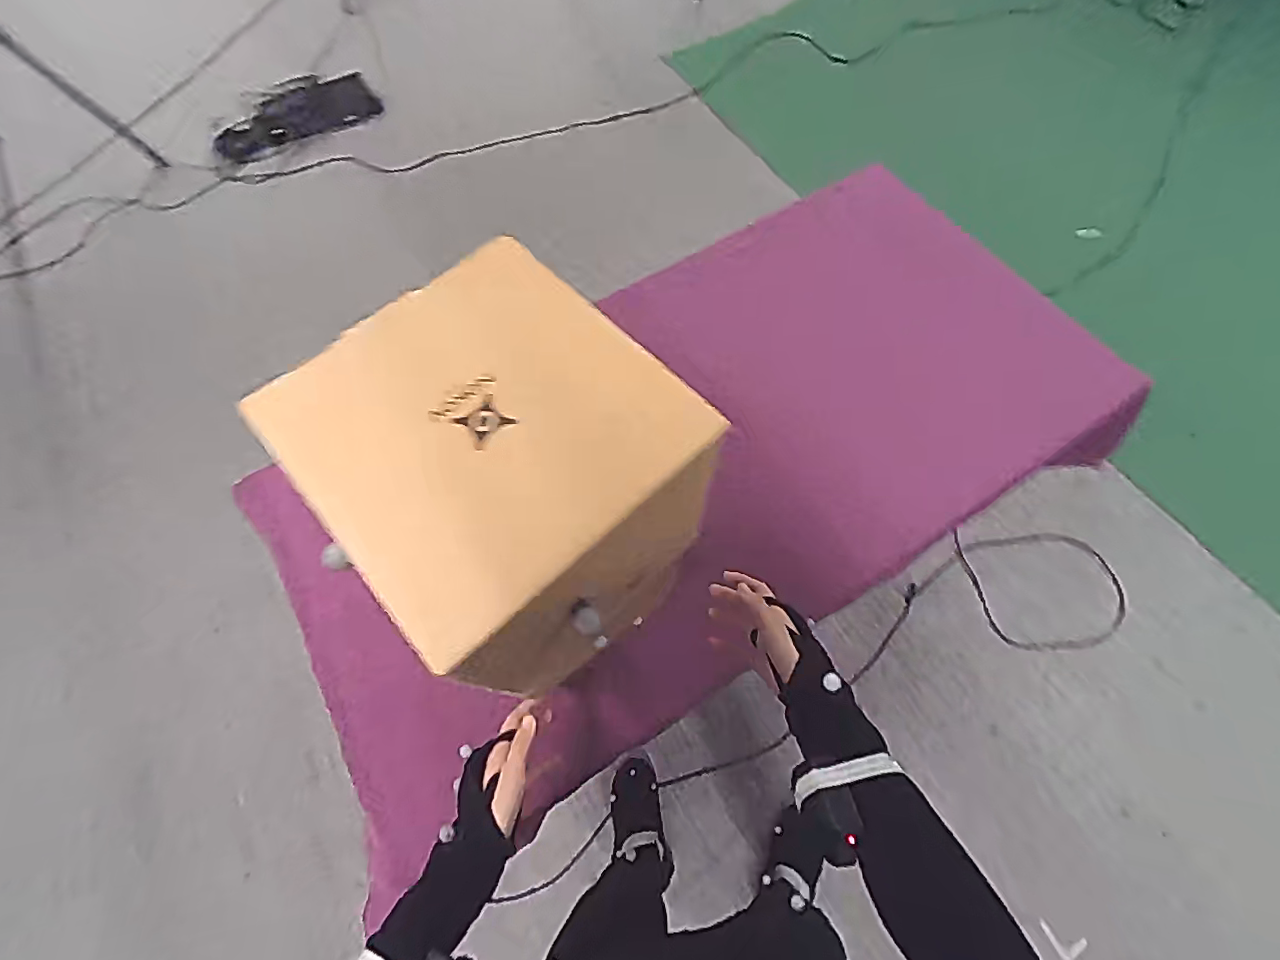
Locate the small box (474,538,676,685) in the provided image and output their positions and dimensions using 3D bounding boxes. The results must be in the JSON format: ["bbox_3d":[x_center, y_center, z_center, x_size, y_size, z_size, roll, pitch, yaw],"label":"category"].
[{"bbox_3d":[-0.087,0.059,0.481,0.179,0.176,0.168,-38,70,-12],"label":"small box"}]

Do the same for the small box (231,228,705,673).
[{"bbox_3d":[-0.081,-0.003,0.330,0.168,0.176,0.179,-41,70,-15],"label":"small box"}]
